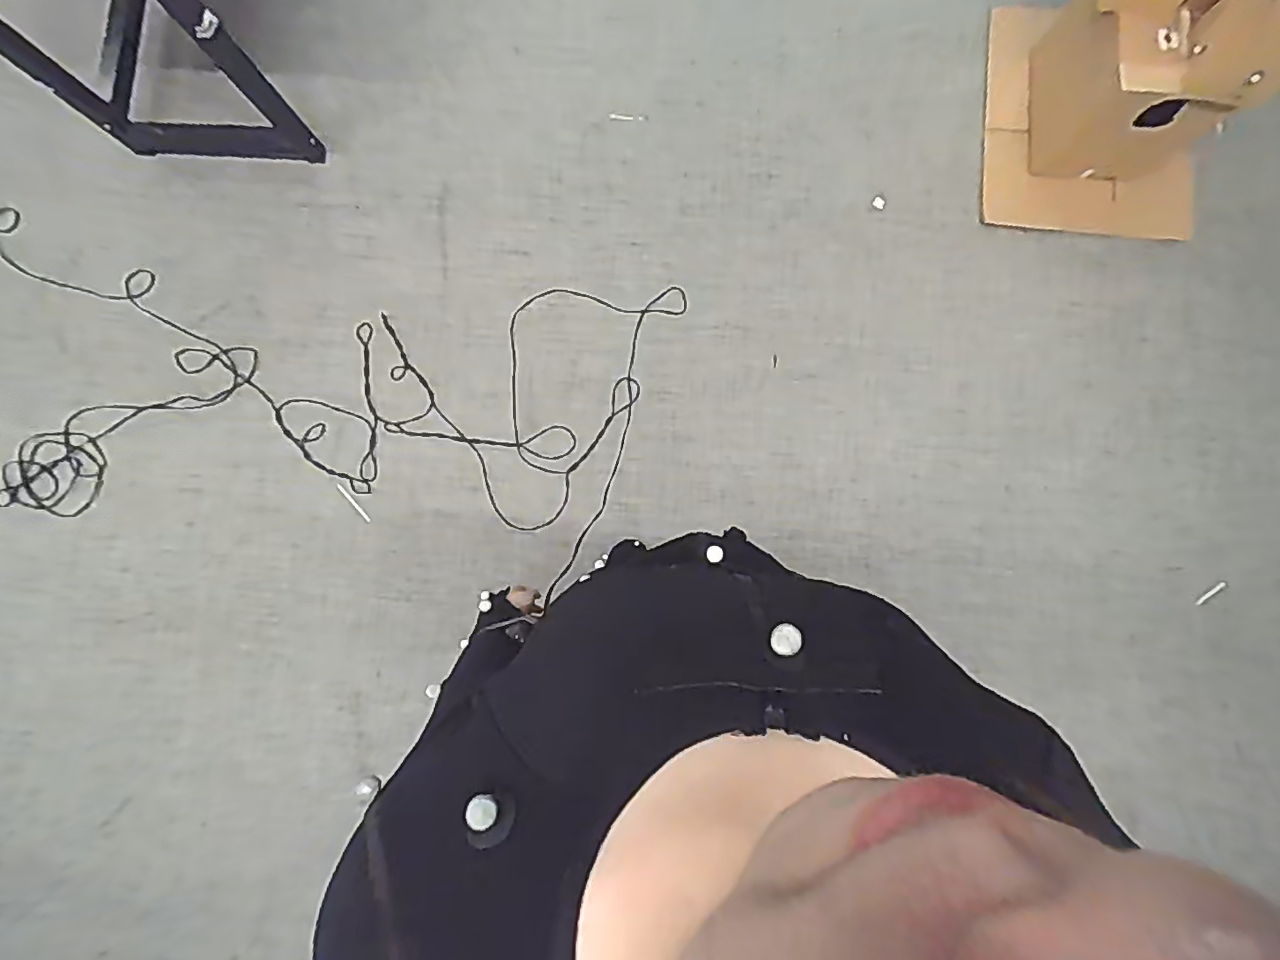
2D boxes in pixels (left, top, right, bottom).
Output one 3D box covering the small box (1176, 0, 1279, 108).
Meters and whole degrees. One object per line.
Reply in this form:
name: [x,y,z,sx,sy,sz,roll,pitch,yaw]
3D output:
small box: [1.356,-0.976,1.207,0.168,0.176,0.179,7,82,1]
